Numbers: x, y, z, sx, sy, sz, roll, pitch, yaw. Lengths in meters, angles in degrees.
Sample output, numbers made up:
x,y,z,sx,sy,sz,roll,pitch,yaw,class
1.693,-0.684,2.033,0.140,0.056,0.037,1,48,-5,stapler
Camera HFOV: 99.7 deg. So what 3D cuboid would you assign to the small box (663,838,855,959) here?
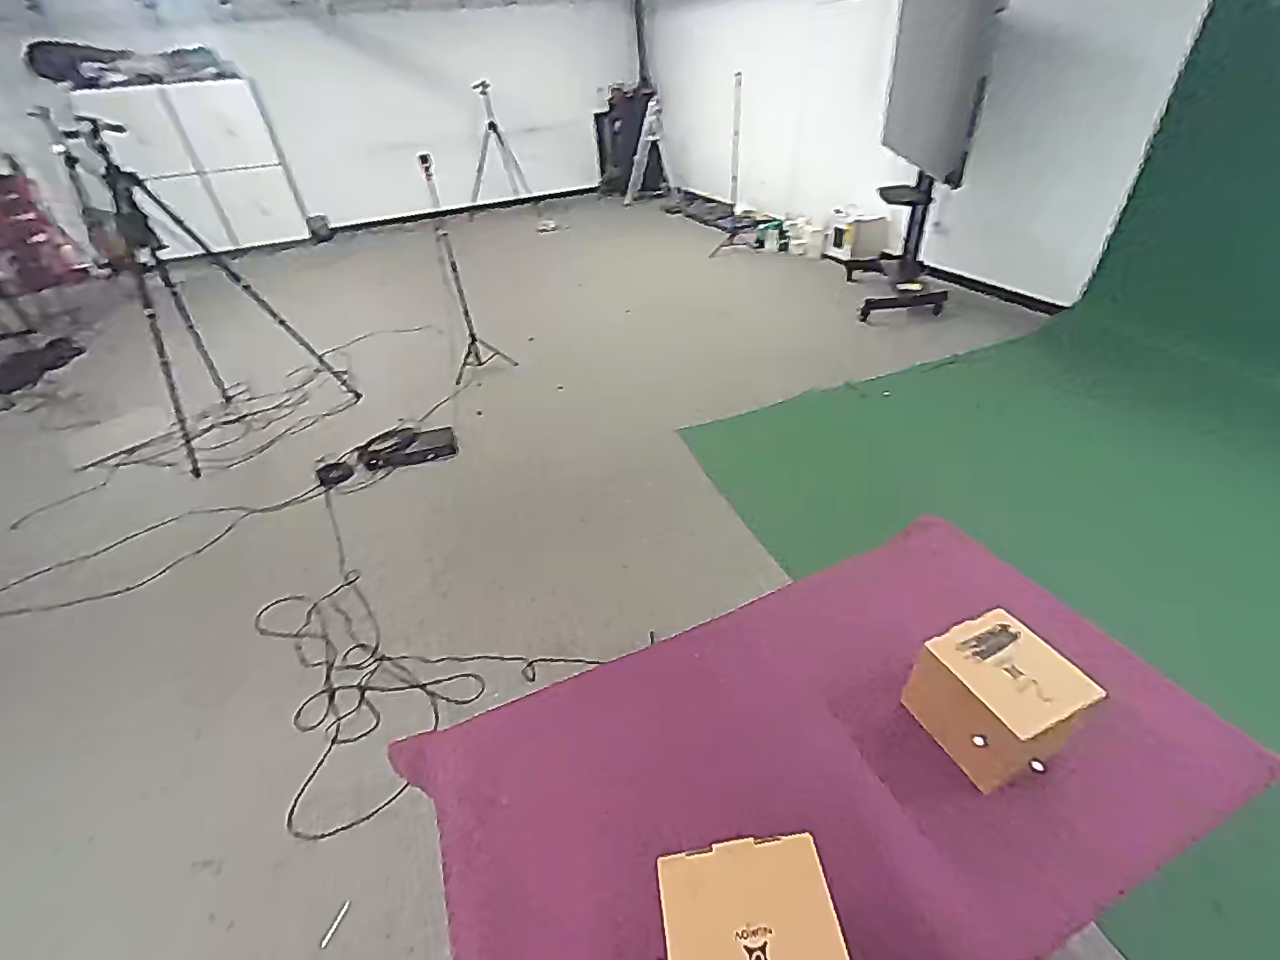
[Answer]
x,y,z,sx,sy,sz,roll,pitch,yaw,class
0.116,0.490,0.539,0.168,0.176,0.179,-8,43,-1,small box
